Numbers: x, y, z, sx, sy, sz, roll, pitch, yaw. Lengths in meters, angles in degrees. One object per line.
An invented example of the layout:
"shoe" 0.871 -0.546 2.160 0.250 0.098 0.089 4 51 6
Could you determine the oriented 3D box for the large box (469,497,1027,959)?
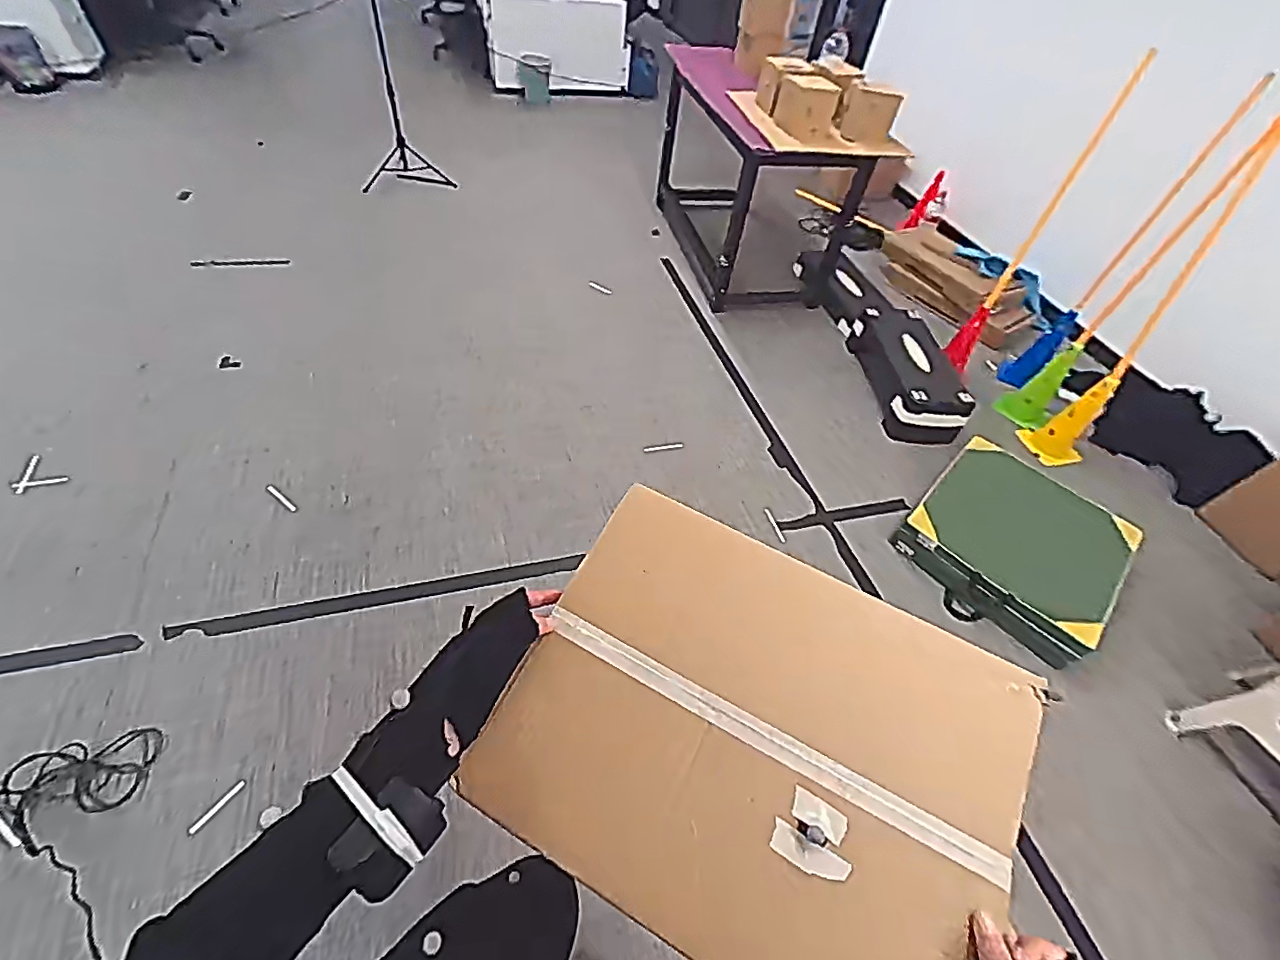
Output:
"large box" 0.100 0.283 0.595 0.408 0.320 0.320 26 66 13
